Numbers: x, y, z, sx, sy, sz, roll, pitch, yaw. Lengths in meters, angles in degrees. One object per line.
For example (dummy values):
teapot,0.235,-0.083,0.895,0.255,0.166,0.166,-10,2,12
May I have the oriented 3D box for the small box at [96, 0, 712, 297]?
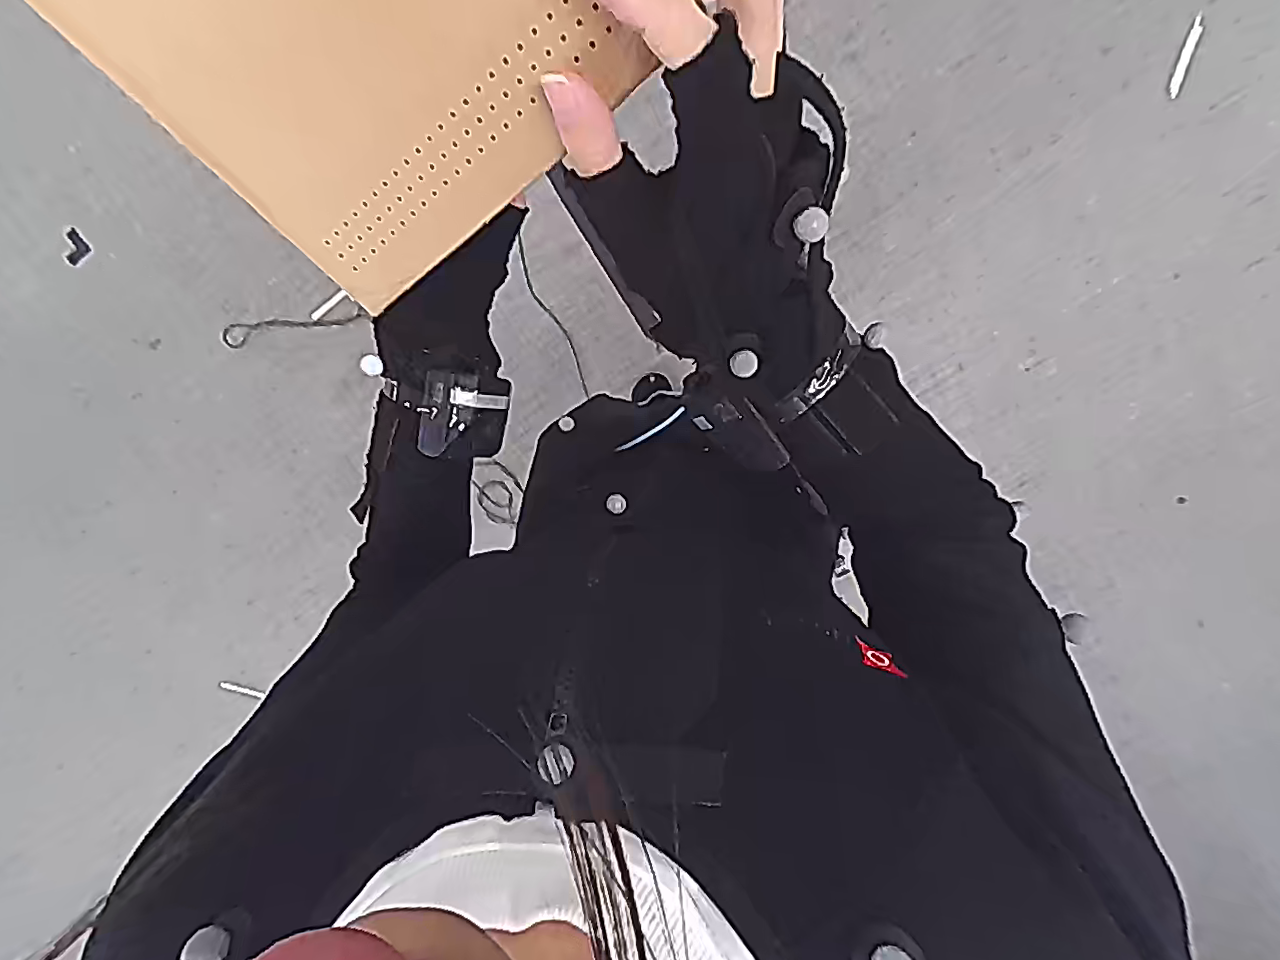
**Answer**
small box,-0.086,-0.214,0.232,0.179,0.168,0.176,-24,129,27
